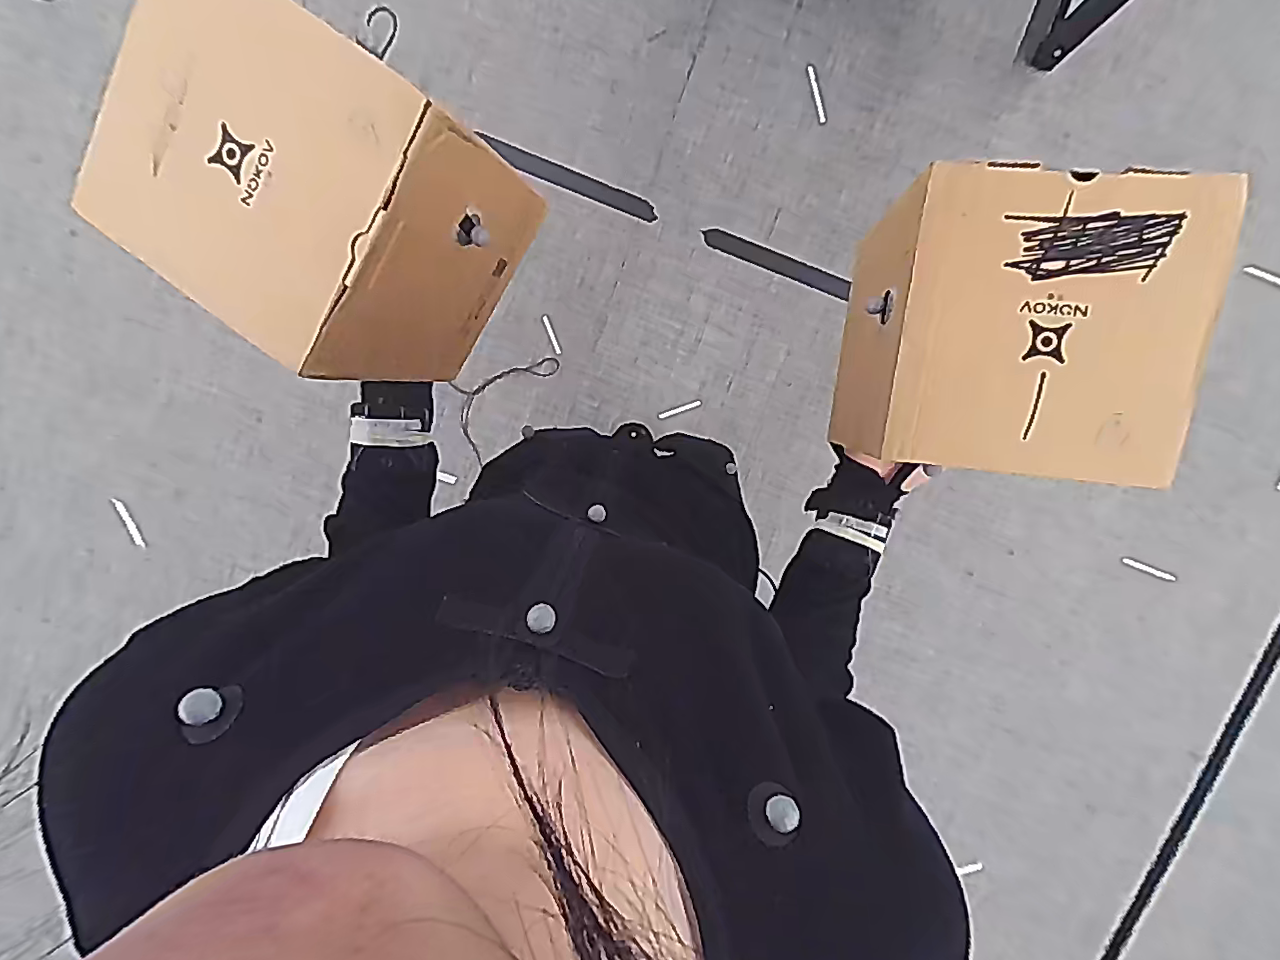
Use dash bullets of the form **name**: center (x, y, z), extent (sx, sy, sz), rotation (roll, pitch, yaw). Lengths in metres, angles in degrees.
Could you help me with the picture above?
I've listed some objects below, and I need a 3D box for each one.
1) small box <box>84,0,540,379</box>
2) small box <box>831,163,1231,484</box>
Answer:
- **small box**: center (-0.198, -0.185, 0.371), extent (0.179, 0.176, 0.168), rotation (35, 103, 4)
- **small box**: center (0.249, -0.102, 0.397), extent (0.168, 0.176, 0.179), rotation (6, 99, 7)
